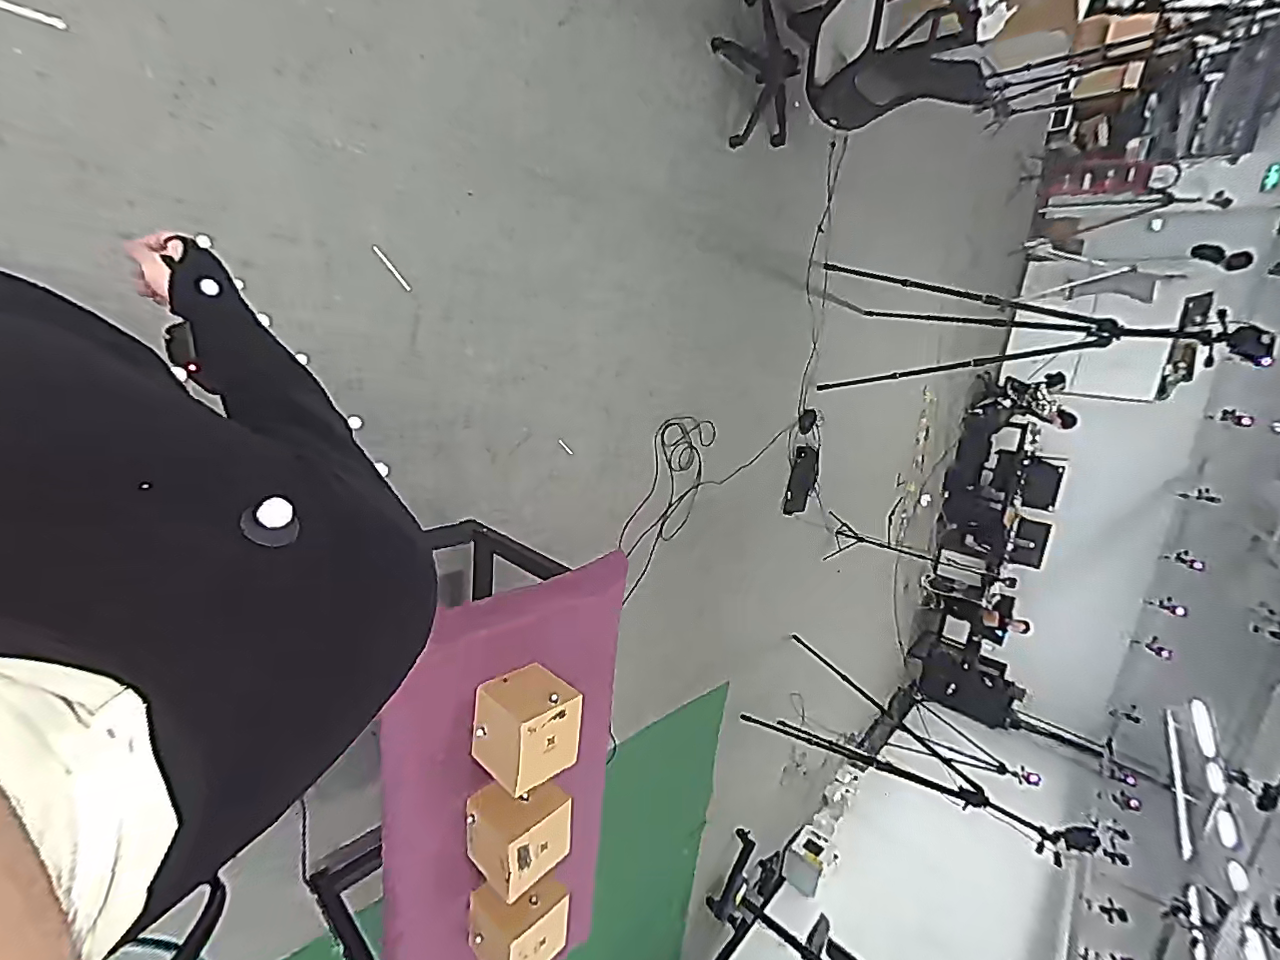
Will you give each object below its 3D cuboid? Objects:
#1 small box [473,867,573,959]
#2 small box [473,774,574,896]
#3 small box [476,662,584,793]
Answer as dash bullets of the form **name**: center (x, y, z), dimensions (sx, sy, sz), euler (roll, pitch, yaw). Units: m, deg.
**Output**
- **small box**: center (-0.291, 1.075, 1.342), dimensions (0.179, 0.176, 0.168), euler (-9, 109, -48)
- **small box**: center (-0.276, 0.799, 1.264), dimensions (0.179, 0.176, 0.168), euler (-14, 113, -48)
- **small box**: center (-0.248, 0.540, 1.205), dimensions (0.168, 0.176, 0.179), euler (-7, 109, -49)
